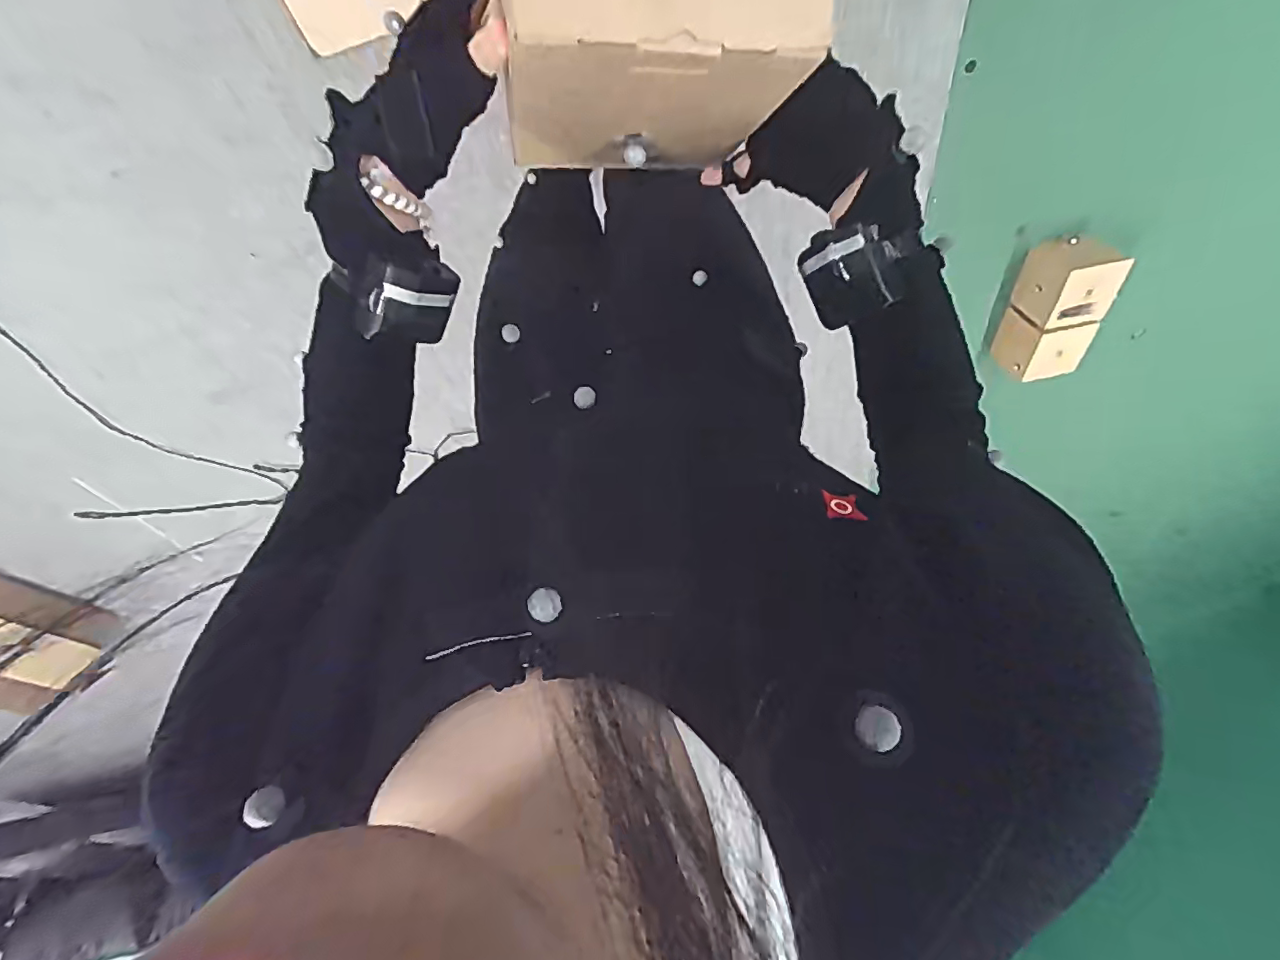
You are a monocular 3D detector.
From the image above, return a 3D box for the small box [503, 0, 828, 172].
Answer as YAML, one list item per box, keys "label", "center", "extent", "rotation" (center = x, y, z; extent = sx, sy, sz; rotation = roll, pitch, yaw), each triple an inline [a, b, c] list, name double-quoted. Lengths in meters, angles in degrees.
- label: "small box"
  center: [-0.001, -0.317, 0.335]
  extent: [0.168, 0.176, 0.179]
  rotation: [-6, 103, -11]
